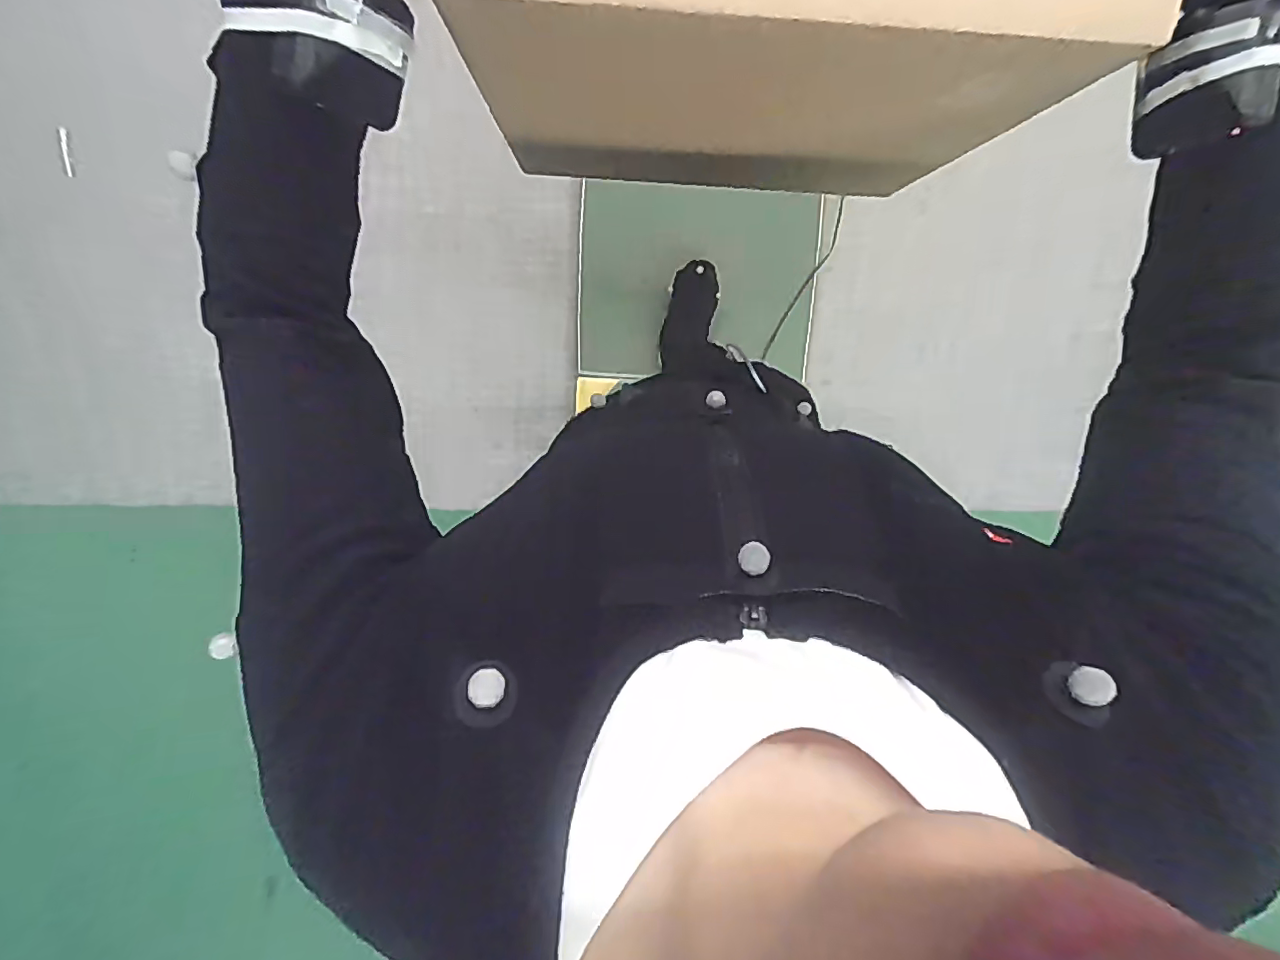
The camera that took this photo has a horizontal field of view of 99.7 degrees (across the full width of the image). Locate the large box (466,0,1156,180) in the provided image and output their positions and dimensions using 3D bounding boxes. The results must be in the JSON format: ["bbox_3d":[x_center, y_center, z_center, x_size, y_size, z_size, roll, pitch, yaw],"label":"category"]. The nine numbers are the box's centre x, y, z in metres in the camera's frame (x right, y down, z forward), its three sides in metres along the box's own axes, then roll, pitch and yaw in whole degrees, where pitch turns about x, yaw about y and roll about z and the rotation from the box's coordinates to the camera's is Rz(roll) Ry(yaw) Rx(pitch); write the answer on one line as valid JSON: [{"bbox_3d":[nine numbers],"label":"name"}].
[{"bbox_3d":[0.088,-0.444,0.406,0.408,0.320,0.320,1,104,-4],"label":"large box"}]
